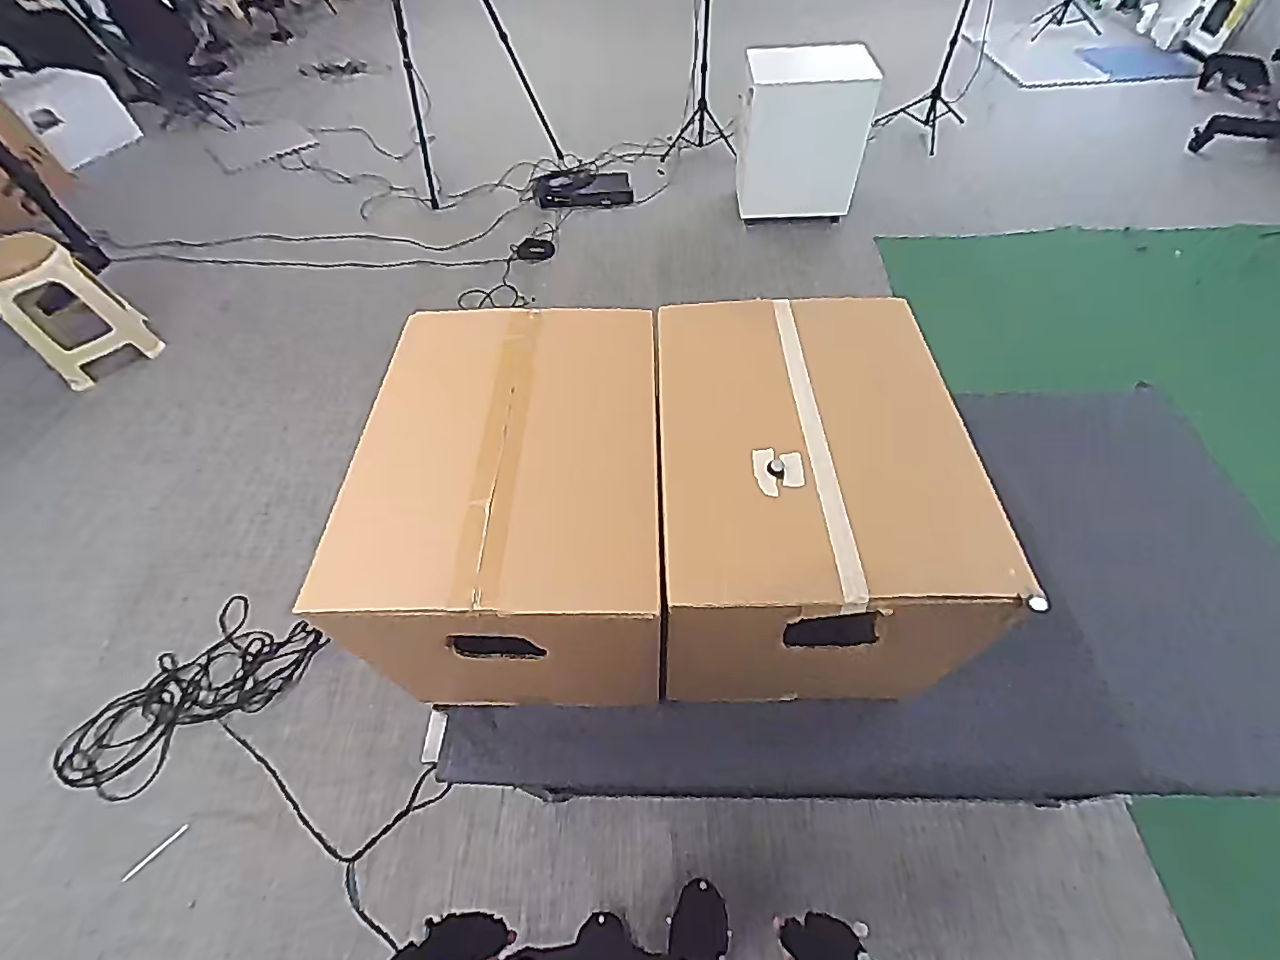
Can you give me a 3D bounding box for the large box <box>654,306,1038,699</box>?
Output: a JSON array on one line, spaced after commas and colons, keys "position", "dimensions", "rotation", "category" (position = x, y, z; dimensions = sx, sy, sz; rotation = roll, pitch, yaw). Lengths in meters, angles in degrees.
[{"position": [0.183, 0.032, 0.689], "dimensions": [0.320, 0.320, 0.408], "rotation": [-2, 55, 2], "category": "large box"}]
